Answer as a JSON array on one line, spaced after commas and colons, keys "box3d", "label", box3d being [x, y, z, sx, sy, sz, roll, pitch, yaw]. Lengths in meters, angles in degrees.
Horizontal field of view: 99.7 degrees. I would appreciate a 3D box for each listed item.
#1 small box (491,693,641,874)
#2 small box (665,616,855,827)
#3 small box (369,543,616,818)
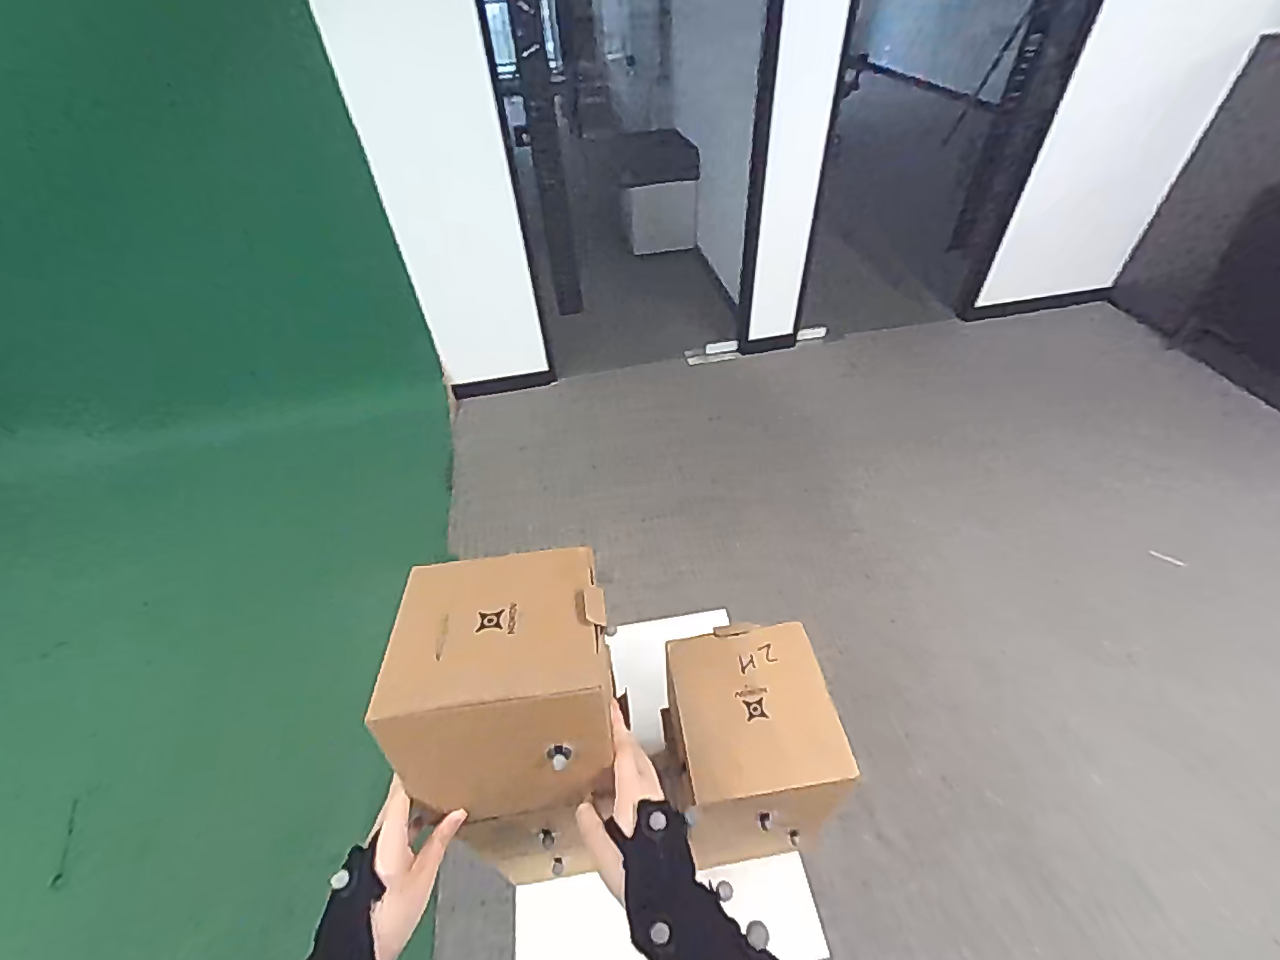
[{"box3d": [-0.098, 0.423, 0.751, 0.179, 0.176, 0.168, -8, 46, -6], "label": "small box"}, {"box3d": [0.126, 0.288, 0.636, 0.168, 0.176, 0.179, -8, 46, -3], "label": "small box"}, {"box3d": [-0.117, 0.184, 0.508, 0.179, 0.176, 0.168, -8, 35, -4], "label": "small box"}]
